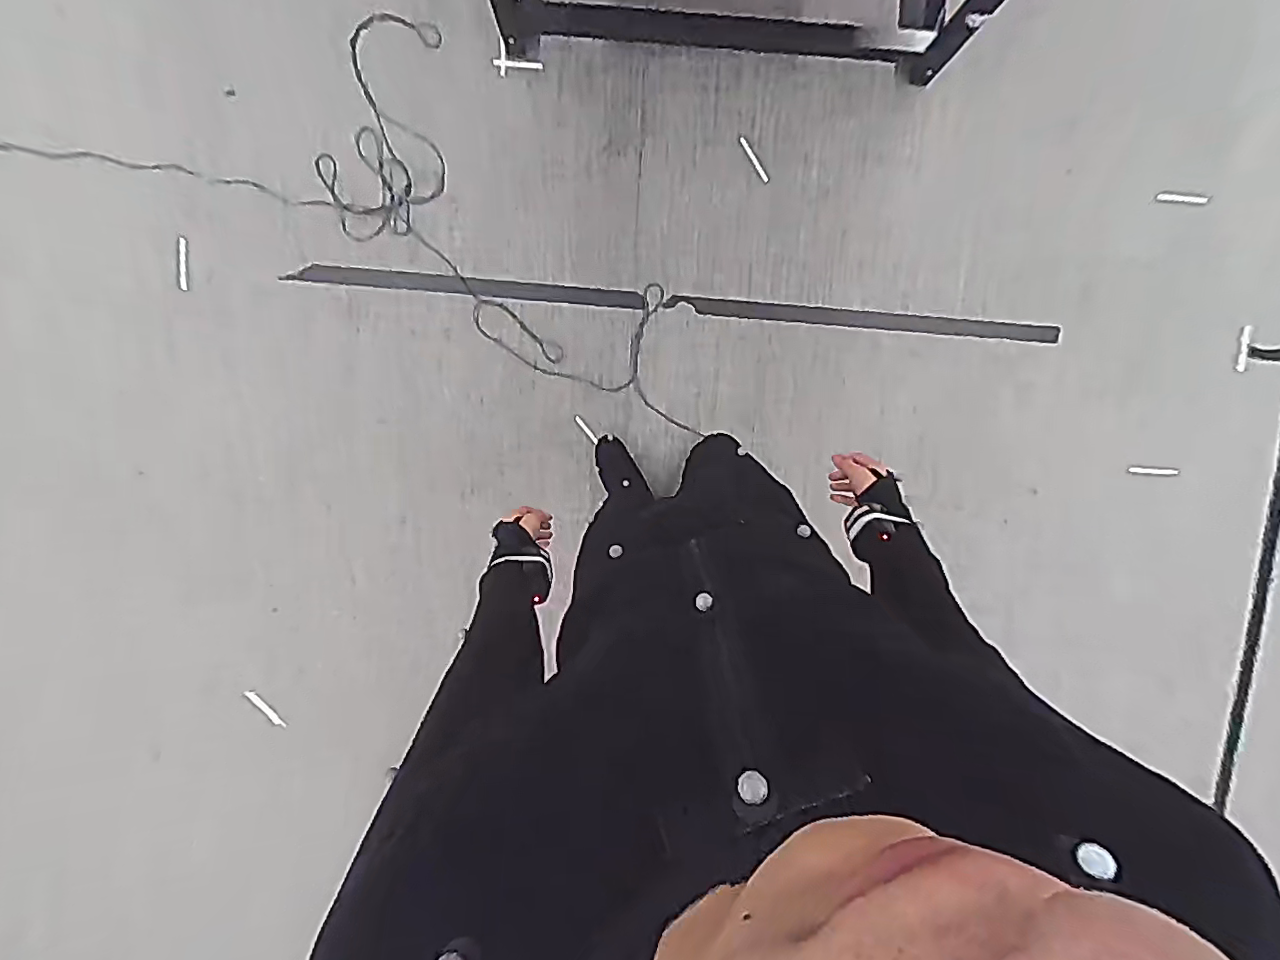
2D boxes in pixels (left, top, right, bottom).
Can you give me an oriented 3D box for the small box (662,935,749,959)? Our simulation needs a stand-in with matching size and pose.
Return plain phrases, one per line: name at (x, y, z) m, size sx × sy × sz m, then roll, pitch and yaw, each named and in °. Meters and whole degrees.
small box at (0.135, 1.050, 1.071) m, size 0.179 × 0.176 × 0.168 m, roll 3°, pitch 96°, yaw -2°
